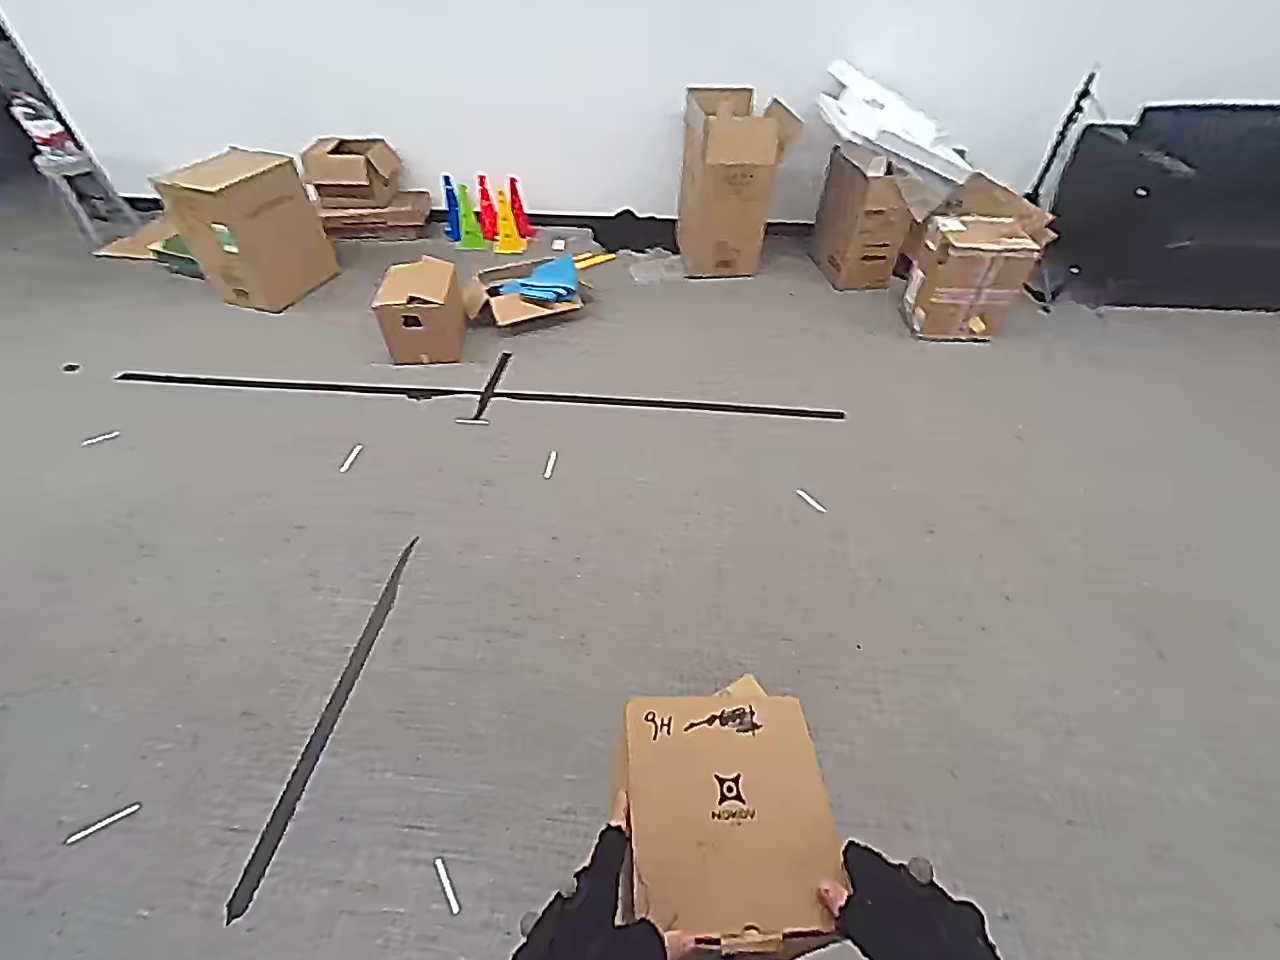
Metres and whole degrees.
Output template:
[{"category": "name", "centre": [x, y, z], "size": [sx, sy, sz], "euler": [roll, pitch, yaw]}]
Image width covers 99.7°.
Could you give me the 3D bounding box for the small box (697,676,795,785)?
[{"category": "small box", "centre": [0.263, 0.644, 1.376], "size": [0.168, 0.176, 0.179], "euler": [-23, 49, -22]}]
